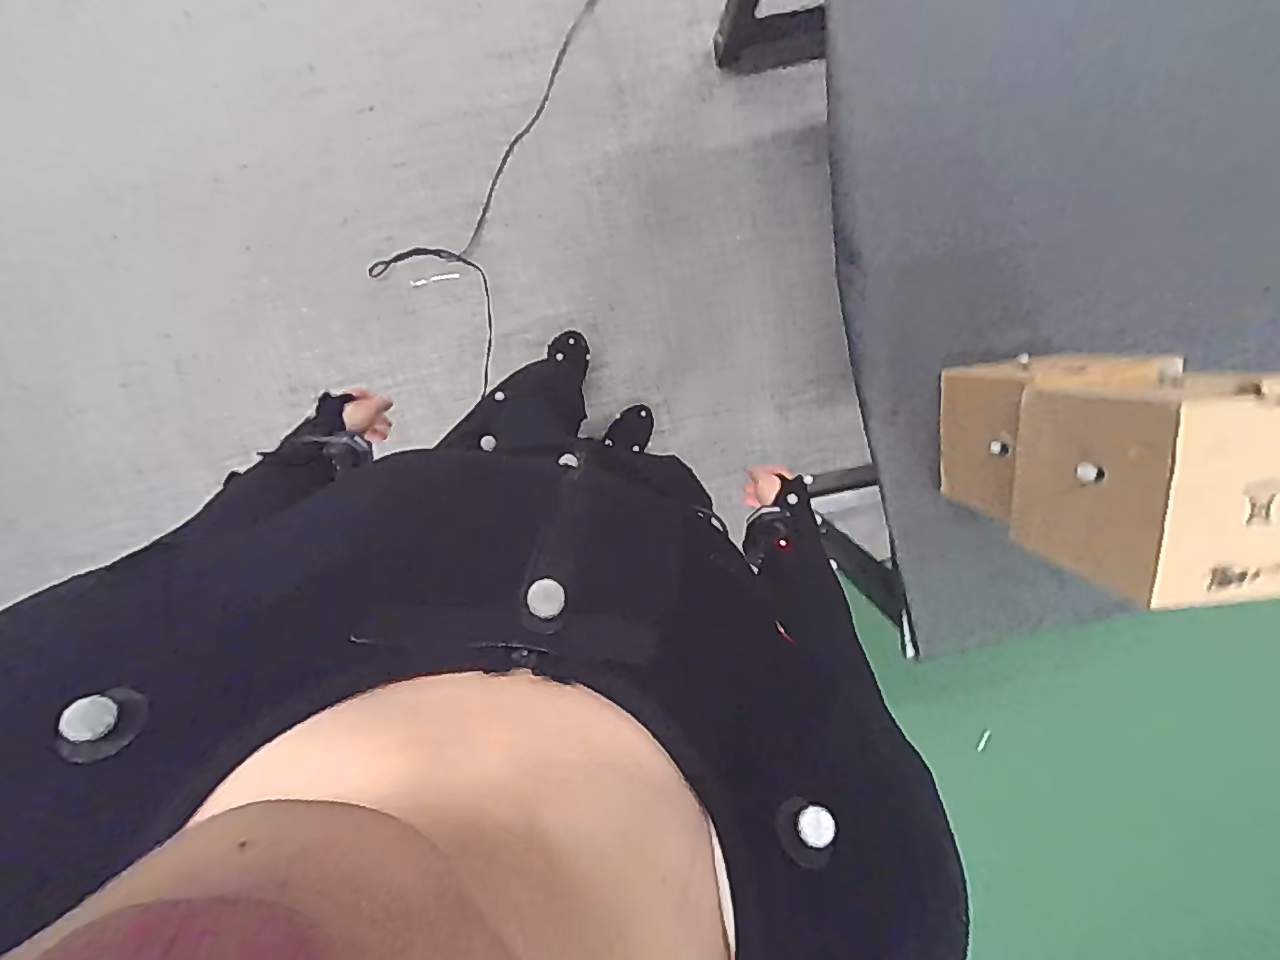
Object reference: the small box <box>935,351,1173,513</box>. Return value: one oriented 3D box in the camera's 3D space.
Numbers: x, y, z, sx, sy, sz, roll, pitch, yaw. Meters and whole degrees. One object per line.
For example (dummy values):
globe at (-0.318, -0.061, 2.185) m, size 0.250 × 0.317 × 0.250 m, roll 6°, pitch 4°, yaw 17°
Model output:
small box at (0.490, -0.060, 0.667) m, size 0.168 × 0.176 × 0.179 m, roll -8°, pitch 104°, yaw -1°

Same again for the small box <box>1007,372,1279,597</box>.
small box at (0.485, -0.009, 0.510) m, size 0.168 × 0.176 × 0.179 m, roll -5°, pitch 103°, yaw -2°
